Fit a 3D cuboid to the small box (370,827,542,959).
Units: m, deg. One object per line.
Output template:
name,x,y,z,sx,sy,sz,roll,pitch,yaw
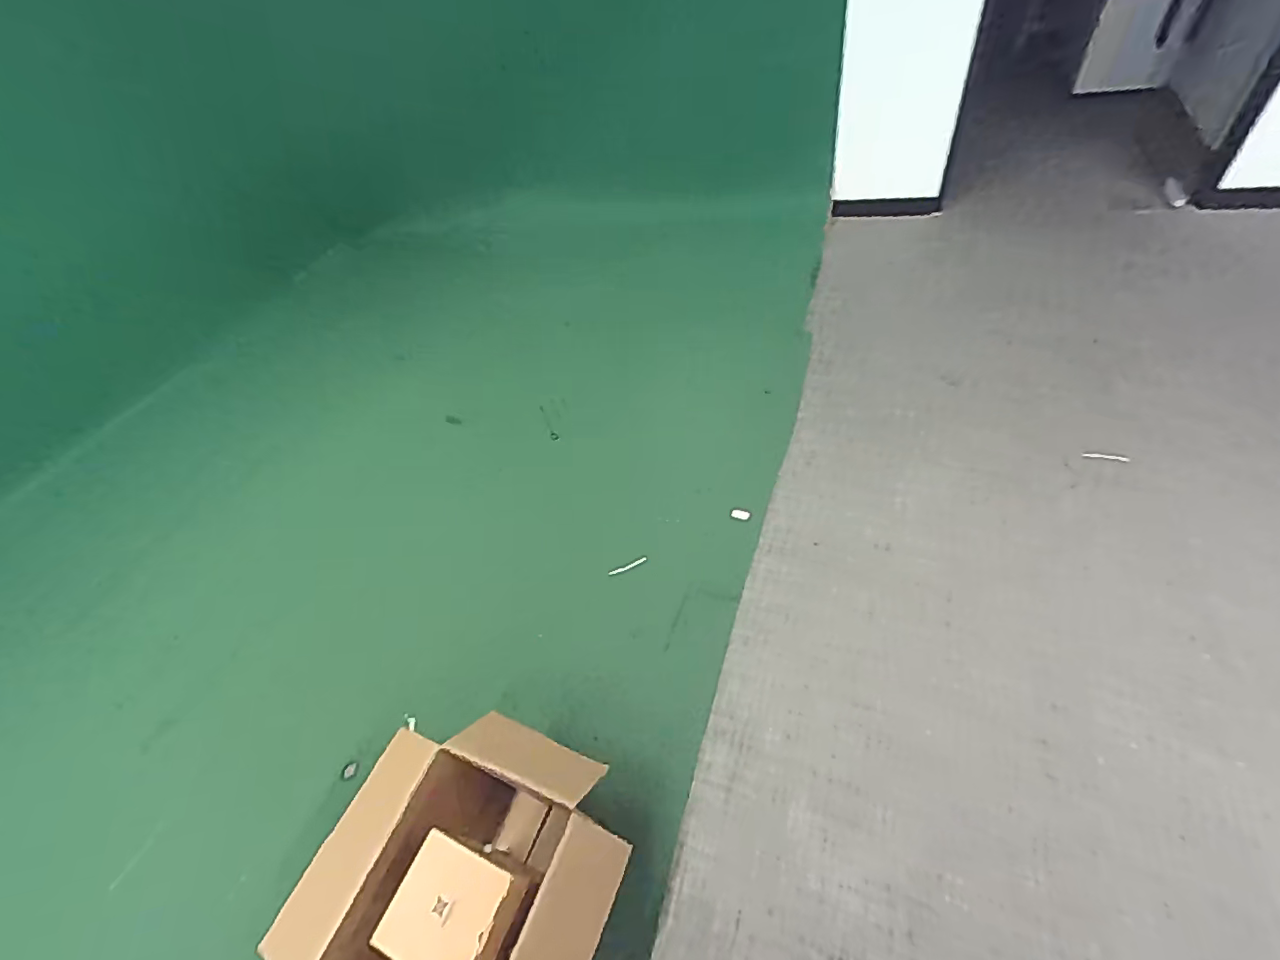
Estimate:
small box,-0.295,0.720,0.903,0.179,0.176,0.168,12,54,23
